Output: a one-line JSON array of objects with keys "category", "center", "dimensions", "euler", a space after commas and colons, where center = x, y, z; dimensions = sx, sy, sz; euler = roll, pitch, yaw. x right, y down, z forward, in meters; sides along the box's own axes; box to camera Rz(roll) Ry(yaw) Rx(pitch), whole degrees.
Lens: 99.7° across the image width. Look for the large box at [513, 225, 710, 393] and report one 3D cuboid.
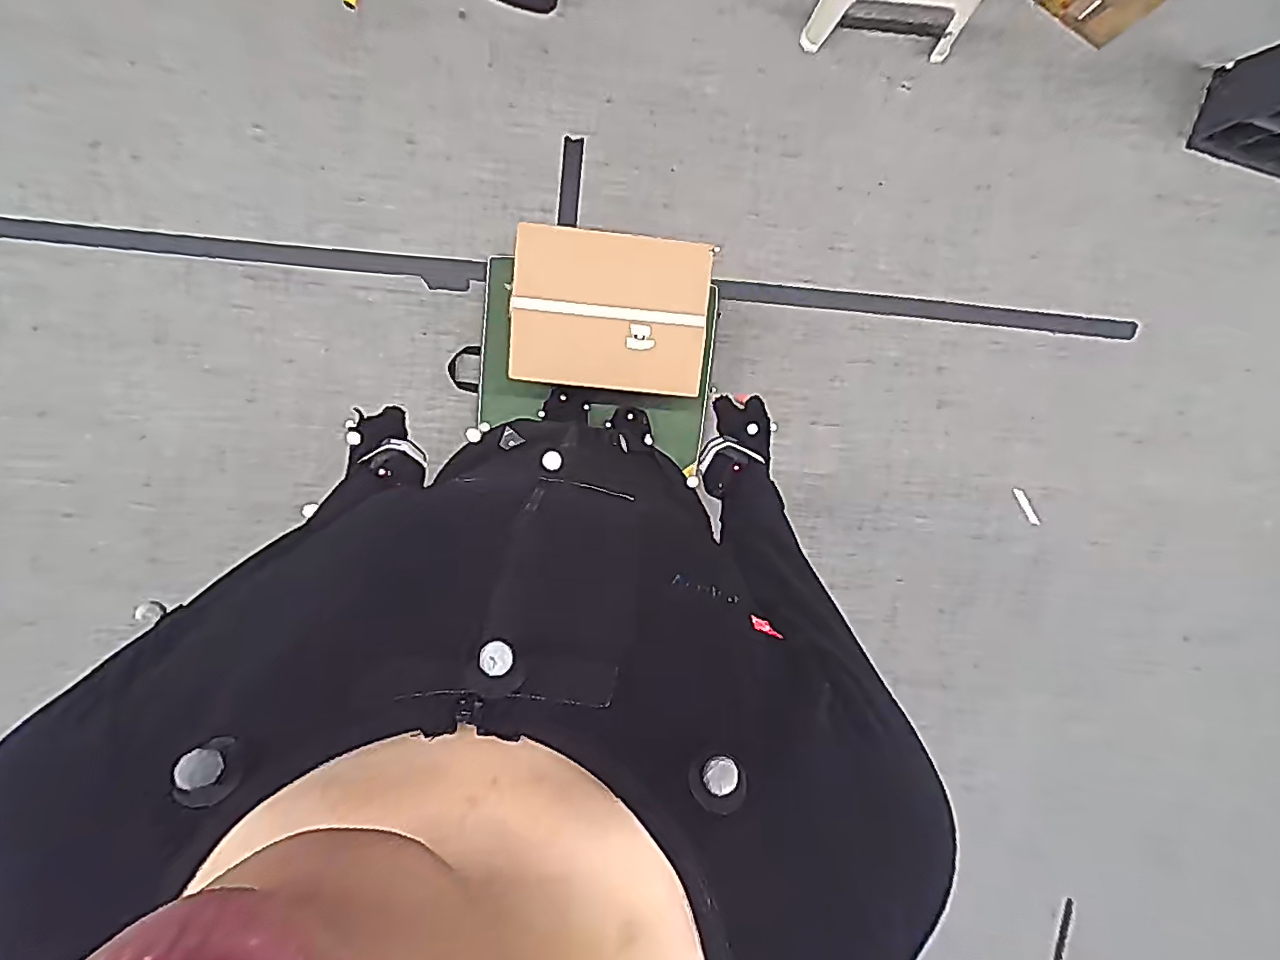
[{"category": "large box", "center": [-0.073, -0.377, 1.278], "dimensions": [0.408, 0.320, 0.320], "euler": [4, 99, -5]}]
